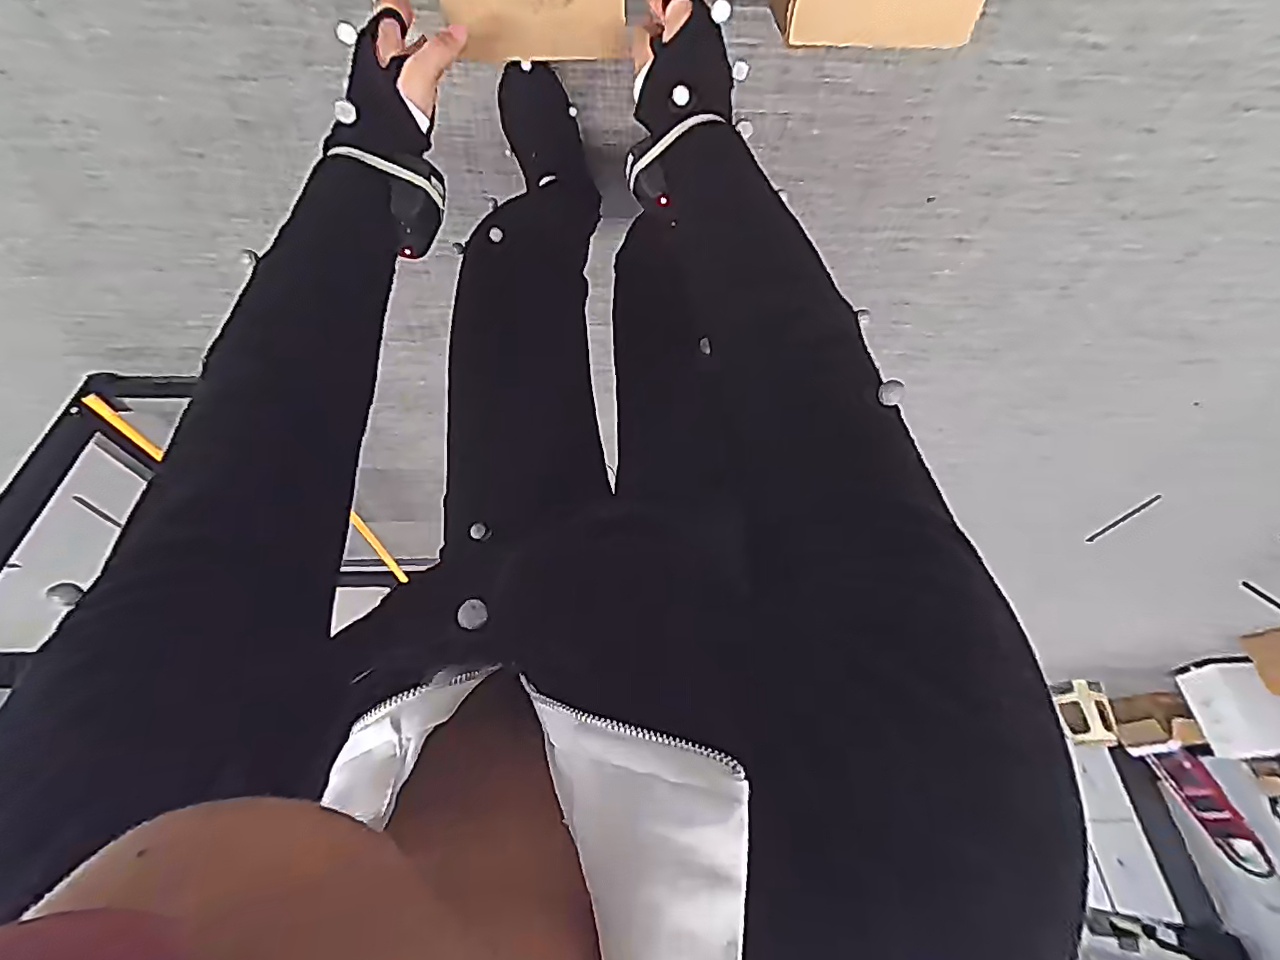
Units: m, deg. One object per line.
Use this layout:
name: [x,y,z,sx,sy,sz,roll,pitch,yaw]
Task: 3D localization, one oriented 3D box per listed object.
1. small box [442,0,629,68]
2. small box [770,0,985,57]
small box: [-0.094,-0.509,0.487,0.168,0.176,0.179,0,149,0]
small box: [0.221,-0.516,0.488,0.179,0.176,0.168,-1,147,-3]
